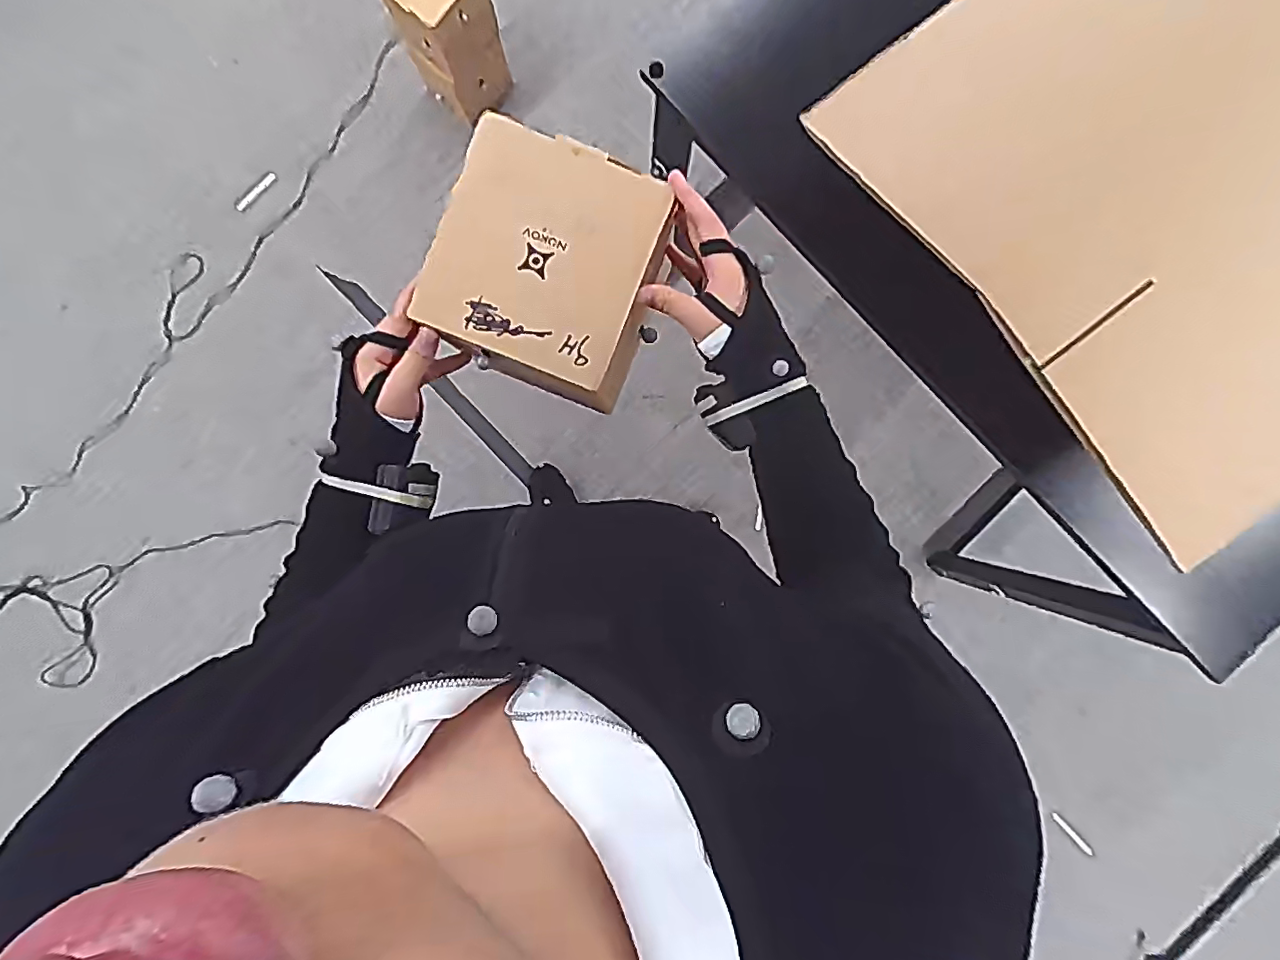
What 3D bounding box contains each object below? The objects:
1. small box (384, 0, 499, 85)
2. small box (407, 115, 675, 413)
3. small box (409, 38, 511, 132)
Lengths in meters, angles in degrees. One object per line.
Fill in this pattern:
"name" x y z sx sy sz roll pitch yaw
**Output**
"small box" -0.451 -1.076 1.248 0.168 0.176 0.179 39 88 -2
"small box" -0.079 -0.180 0.507 0.168 0.176 0.179 22 89 1
"small box" -0.456 -1.070 1.410 0.168 0.176 0.179 42 90 0
